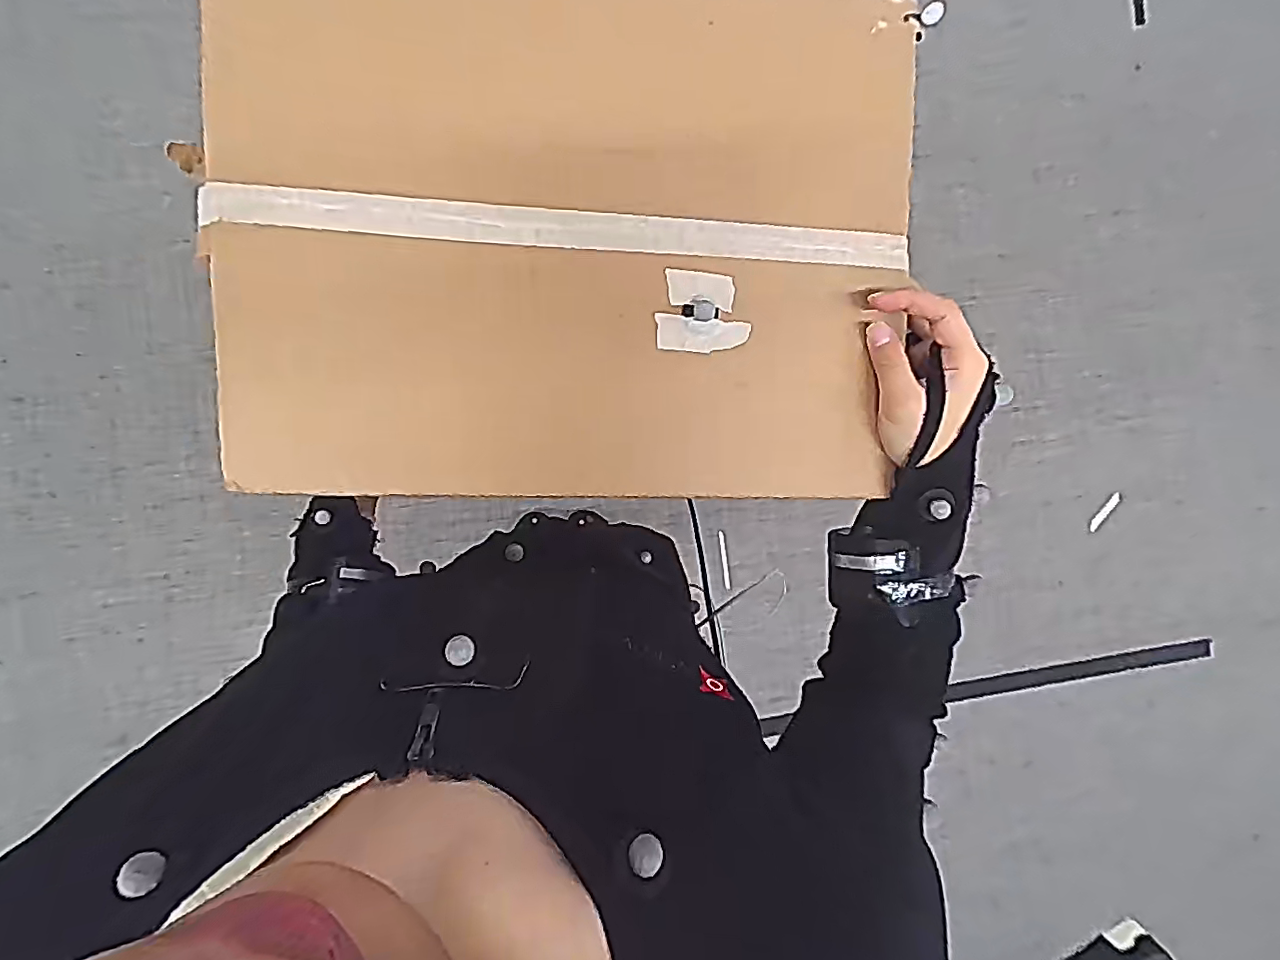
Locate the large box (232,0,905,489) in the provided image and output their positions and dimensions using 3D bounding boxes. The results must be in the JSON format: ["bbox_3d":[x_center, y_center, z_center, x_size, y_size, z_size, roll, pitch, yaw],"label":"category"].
[{"bbox_3d":[-0.050,-0.161,0.474,0.408,0.320,0.320,1,95,-10],"label":"large box"}]
